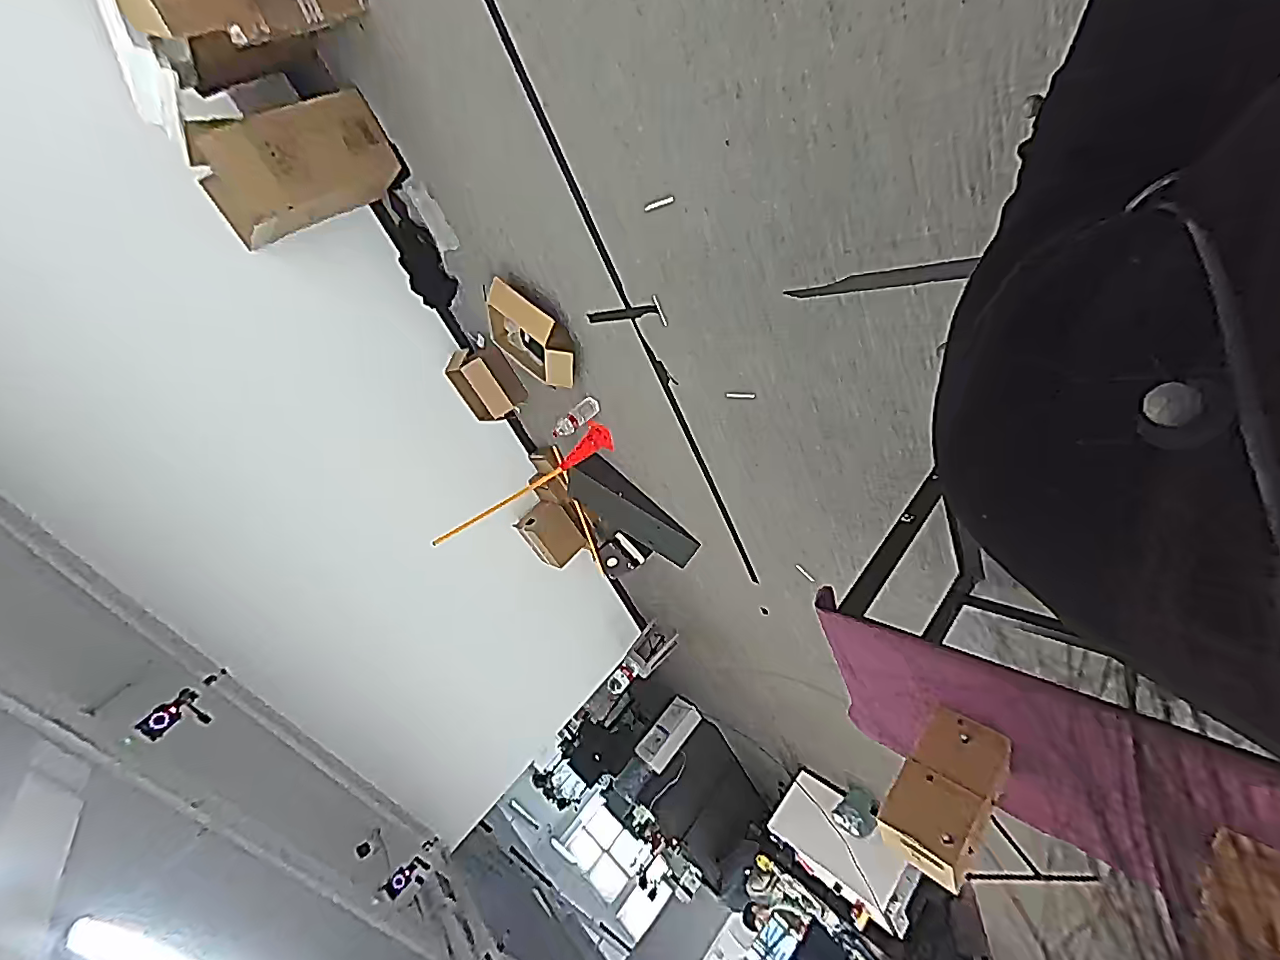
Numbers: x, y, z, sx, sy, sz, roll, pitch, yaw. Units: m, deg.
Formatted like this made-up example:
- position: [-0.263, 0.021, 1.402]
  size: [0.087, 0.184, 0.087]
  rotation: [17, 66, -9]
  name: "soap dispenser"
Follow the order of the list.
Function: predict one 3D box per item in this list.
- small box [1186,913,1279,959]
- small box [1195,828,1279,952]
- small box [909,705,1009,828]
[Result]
- position: [0.994, 0.863, 0.872]
  size: [0.168, 0.176, 0.179]
  rotation: [13, 139, 49]
  name: "small box"
- position: [1.099, 0.756, 0.940]
  size: [0.168, 0.176, 0.179]
  rotation: [14, 140, 49]
  name: "small box"
- position: [0.785, 0.697, 1.329]
  size: [0.168, 0.176, 0.179]
  rotation: [17, 142, 45]
  name: "small box"
